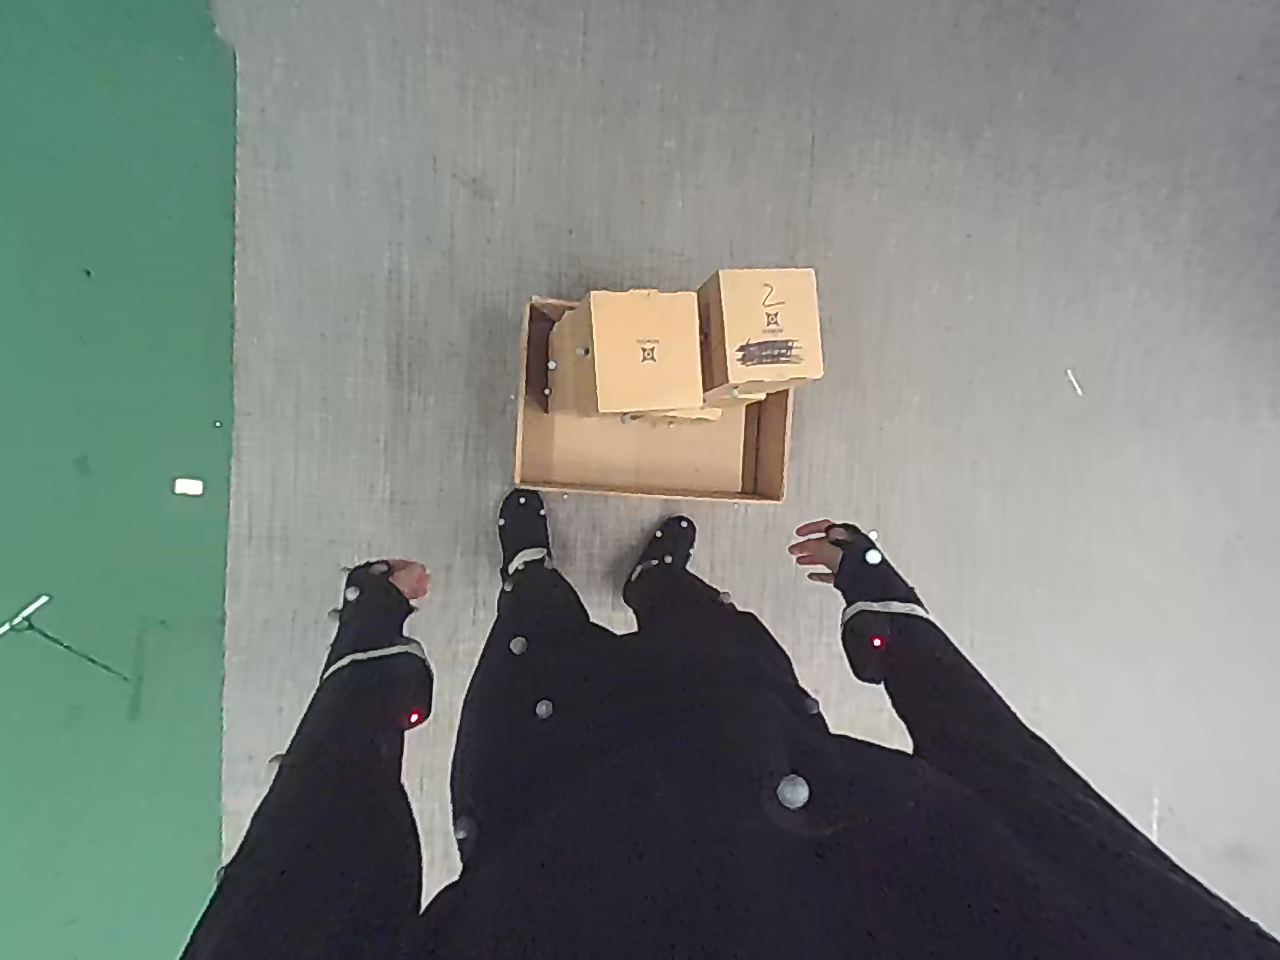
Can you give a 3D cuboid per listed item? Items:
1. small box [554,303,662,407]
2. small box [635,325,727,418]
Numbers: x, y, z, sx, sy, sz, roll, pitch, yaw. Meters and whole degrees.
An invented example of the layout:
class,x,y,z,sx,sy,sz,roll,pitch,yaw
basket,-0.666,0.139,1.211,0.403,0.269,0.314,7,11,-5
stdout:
class,x,y,z,sx,sy,sz,roll,pitch,yaw
small box,-0.066,-0.226,1.017,0.179,0.176,0.168,-1,94,-14
small box,0.085,-0.239,1.225,0.168,0.176,0.179,3,93,-12
